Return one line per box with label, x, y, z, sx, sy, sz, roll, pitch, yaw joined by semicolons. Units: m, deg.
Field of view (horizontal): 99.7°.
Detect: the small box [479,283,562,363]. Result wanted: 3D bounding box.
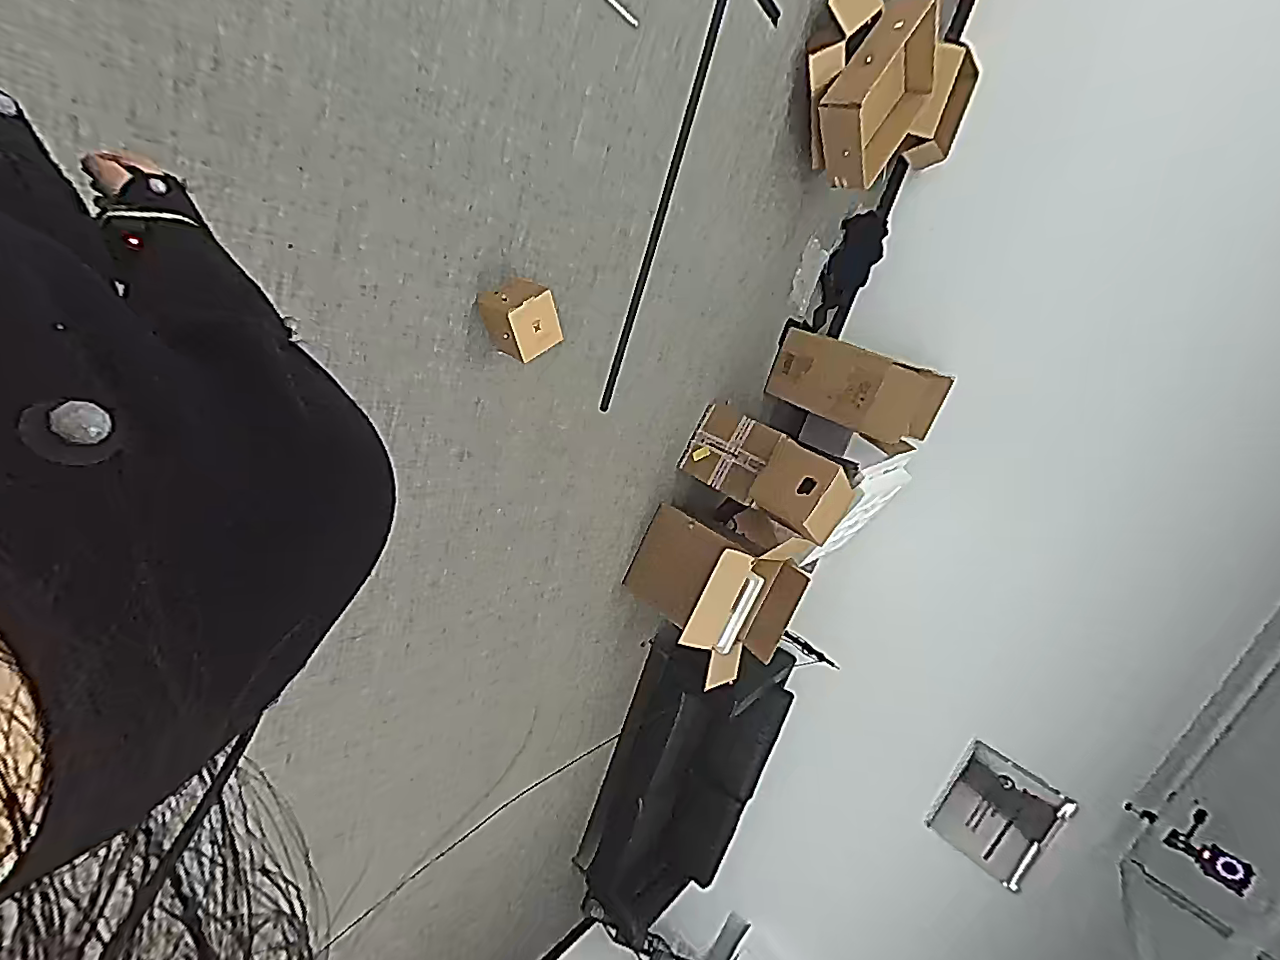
small box;-0.375;-0.499;1.690;0.168;0.176;0.179;-40;143;-25
